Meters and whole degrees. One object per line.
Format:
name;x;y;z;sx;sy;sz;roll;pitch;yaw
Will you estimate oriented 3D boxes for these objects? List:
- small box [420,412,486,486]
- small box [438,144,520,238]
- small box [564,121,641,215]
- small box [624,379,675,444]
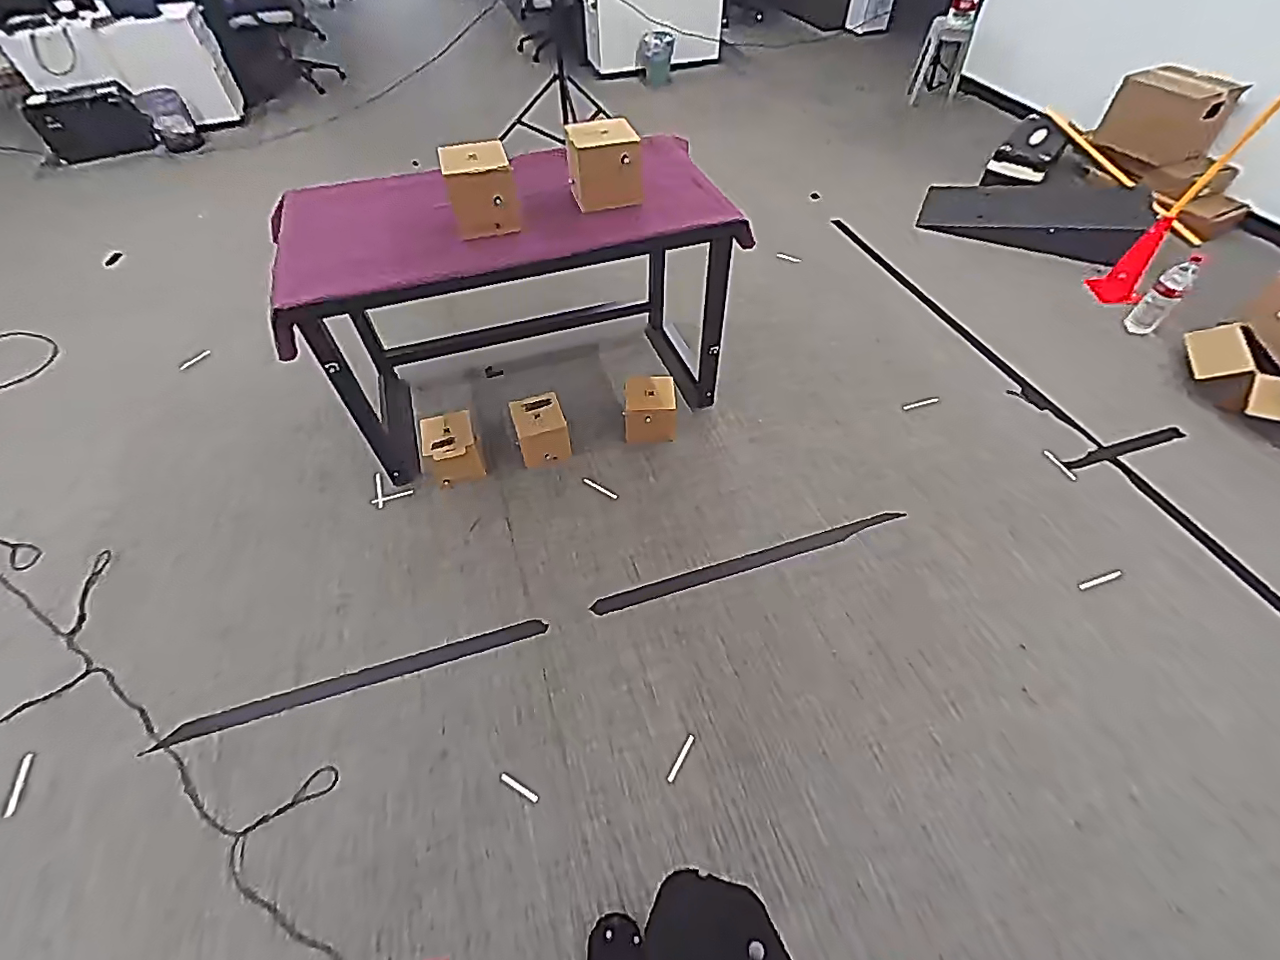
small box;-0.635;-0.099;1.842;0.168;0.176;0.179;-15;53;-10
small box;-0.422;-0.754;1.424;0.168;0.176;0.179;-14;51;-11
small box;-0.102;-0.867;1.505;0.179;0.176;0.168;-14;53;-9
small box;0.033;-0.246;1.948;0.179;0.176;0.168;-3;53;0
